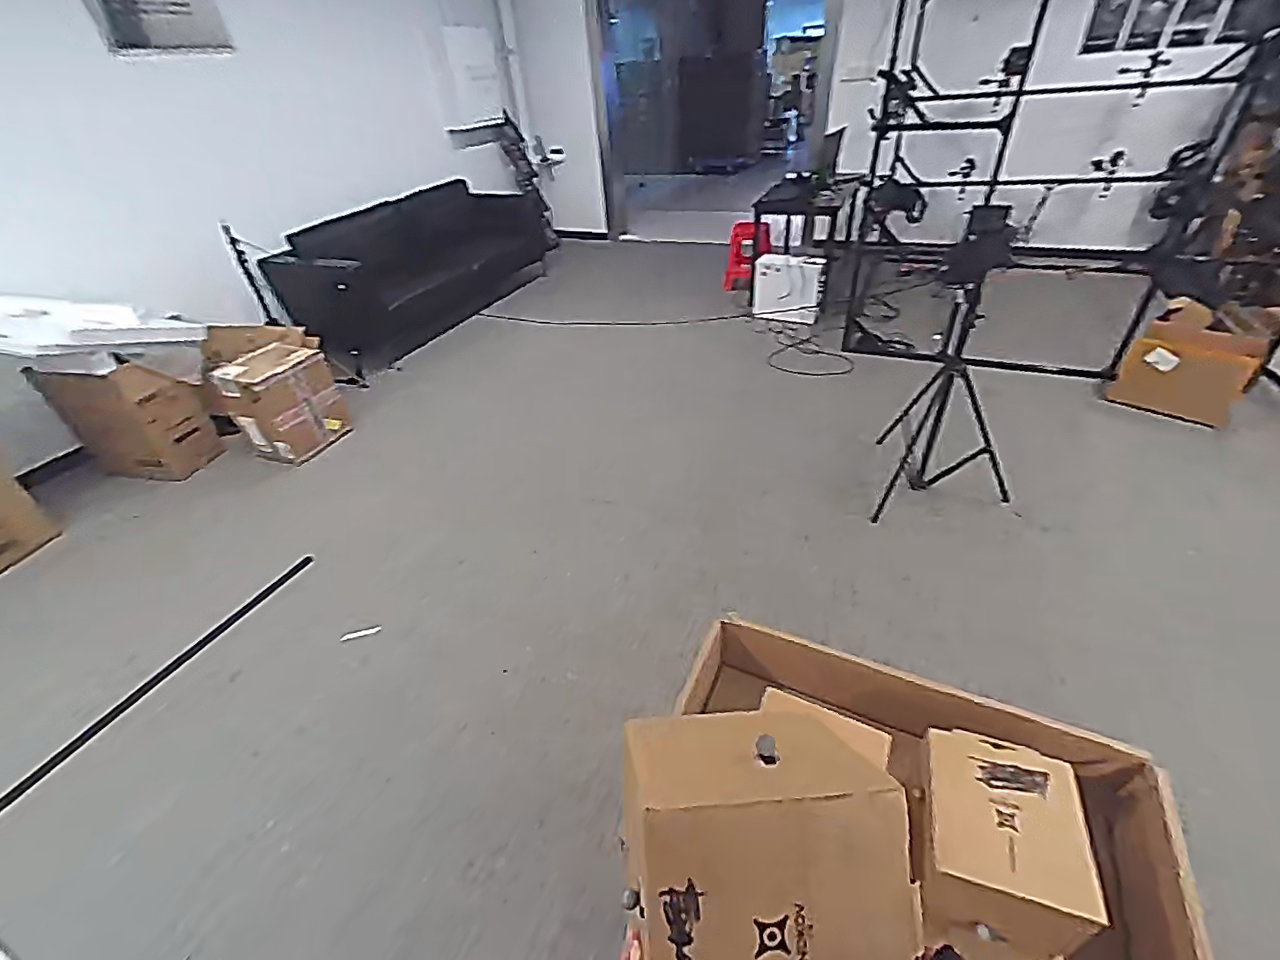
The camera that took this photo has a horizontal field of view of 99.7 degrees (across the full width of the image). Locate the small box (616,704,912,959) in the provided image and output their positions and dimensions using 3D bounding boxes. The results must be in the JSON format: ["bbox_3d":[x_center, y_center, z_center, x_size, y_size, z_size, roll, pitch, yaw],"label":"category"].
[{"bbox_3d":[0.077,0.284,0.418,0.179,0.168,0.176,-1,-7,-8],"label":"small box"}]
